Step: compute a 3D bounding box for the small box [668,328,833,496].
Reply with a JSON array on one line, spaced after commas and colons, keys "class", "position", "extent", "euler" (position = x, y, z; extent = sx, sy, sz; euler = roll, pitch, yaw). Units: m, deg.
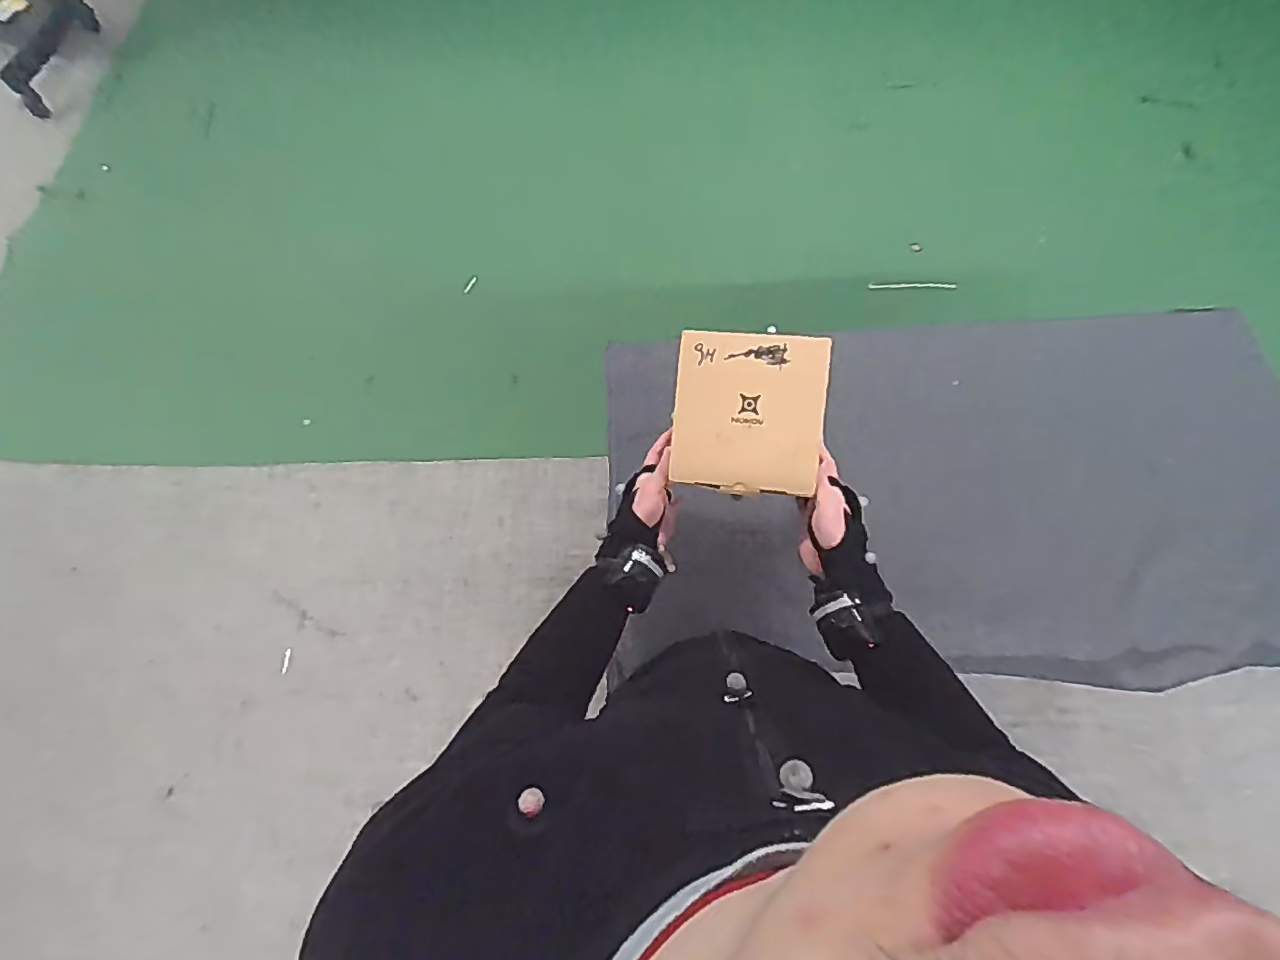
[{"class": "small box", "position": [0.134, -0.081, 0.675], "extent": [0.168, 0.176, 0.179], "euler": [6, 94, 9]}]
